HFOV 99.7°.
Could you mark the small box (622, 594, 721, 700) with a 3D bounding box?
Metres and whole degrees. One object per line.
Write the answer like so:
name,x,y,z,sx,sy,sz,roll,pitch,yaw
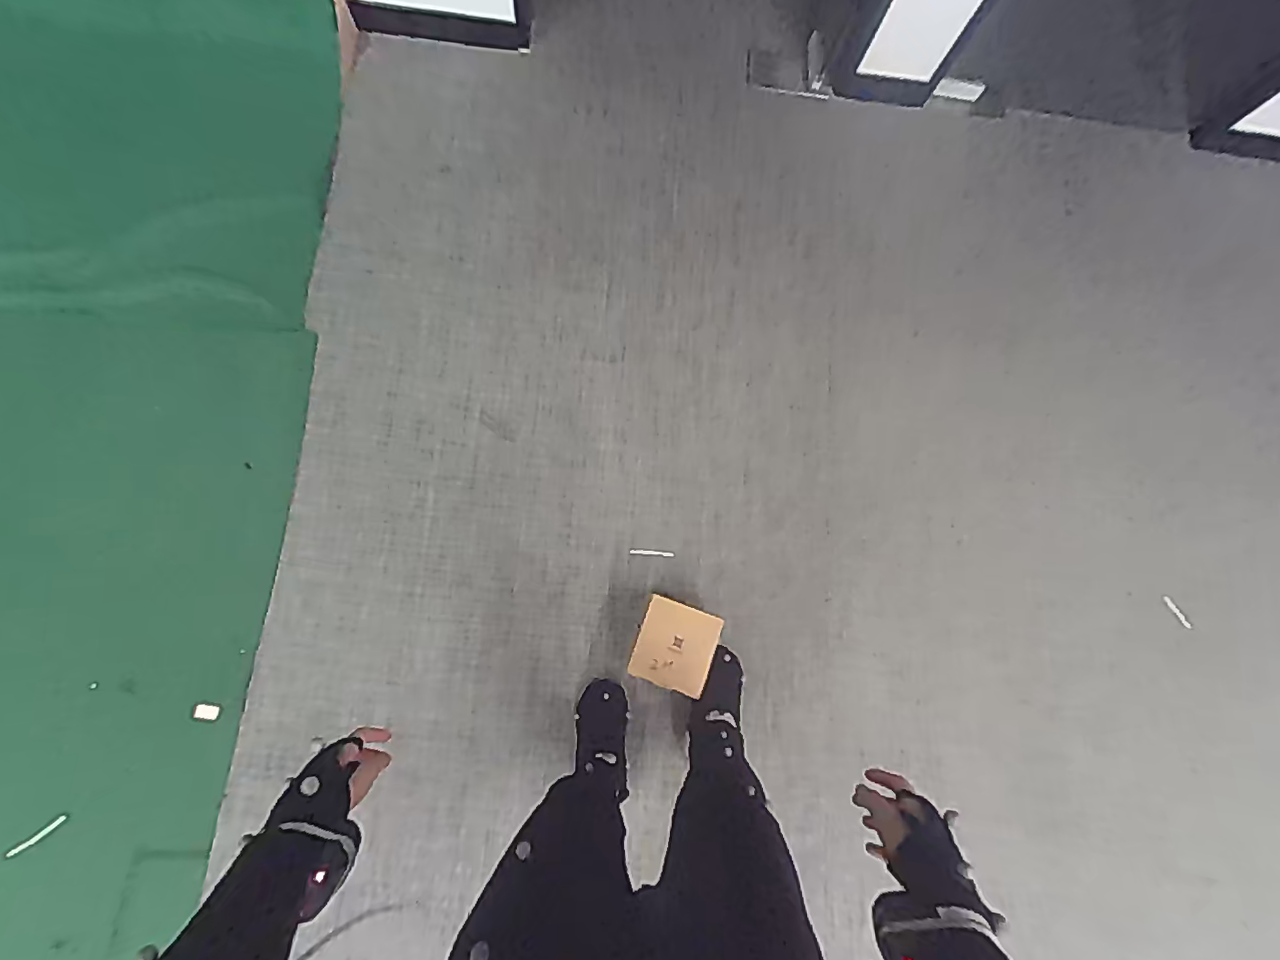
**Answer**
small box,0.063,0.366,1.217,0.168,0.176,0.179,21,78,0
